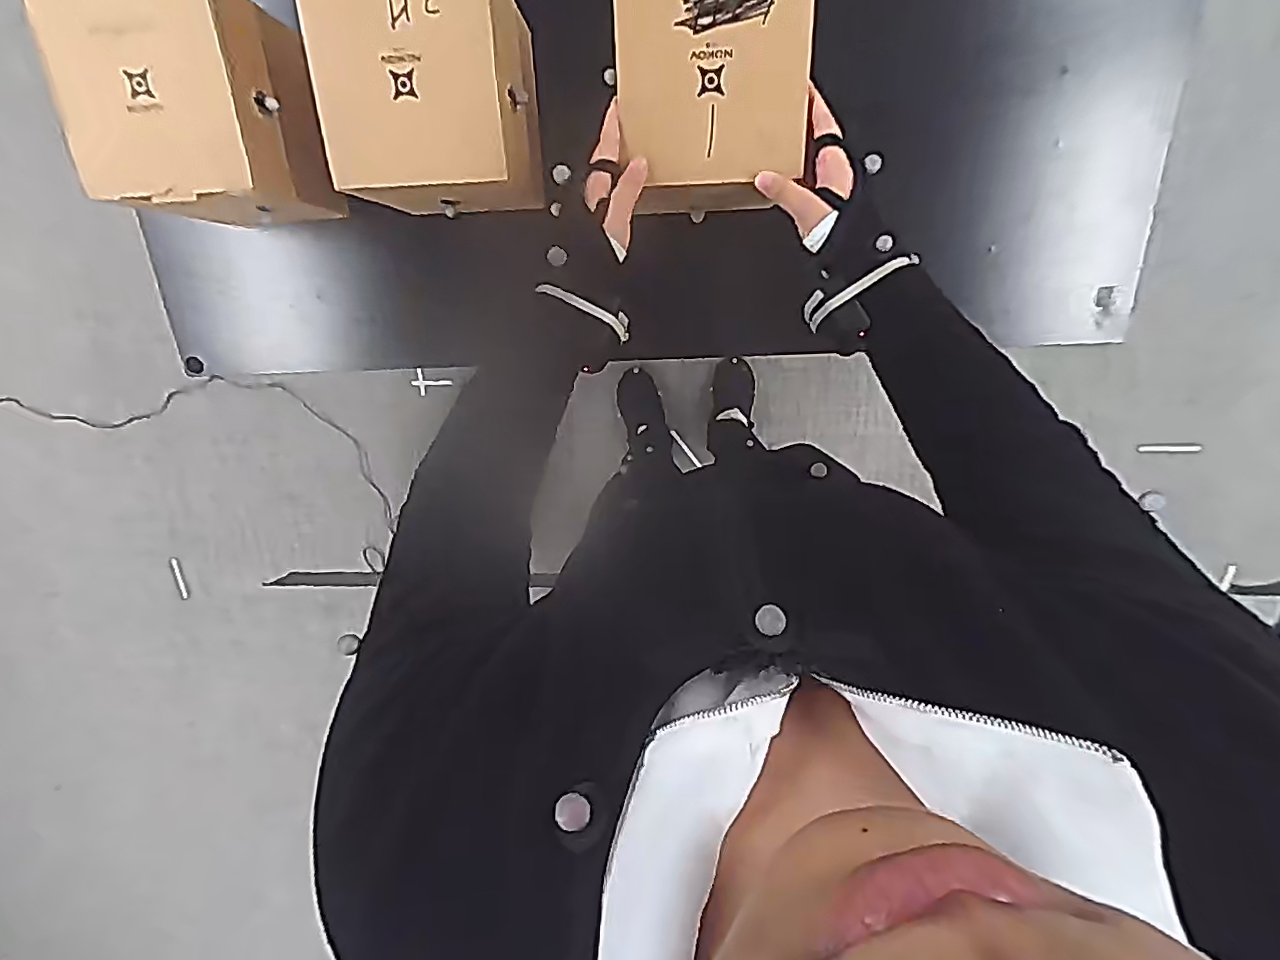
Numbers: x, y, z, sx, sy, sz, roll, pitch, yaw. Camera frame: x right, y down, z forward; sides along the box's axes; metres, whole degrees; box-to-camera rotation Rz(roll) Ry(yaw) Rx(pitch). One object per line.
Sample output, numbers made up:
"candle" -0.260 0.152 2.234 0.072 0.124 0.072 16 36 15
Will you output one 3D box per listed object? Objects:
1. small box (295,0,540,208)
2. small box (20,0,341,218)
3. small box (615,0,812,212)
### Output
"small box" -0.202 -0.378 0.542 0.168 0.176 0.179 -1 109 2
"small box" -0.442 -0.375 0.556 0.168 0.176 0.179 -3 108 2
"small box" 0.062 -0.374 0.533 0.168 0.176 0.179 -1 110 3
